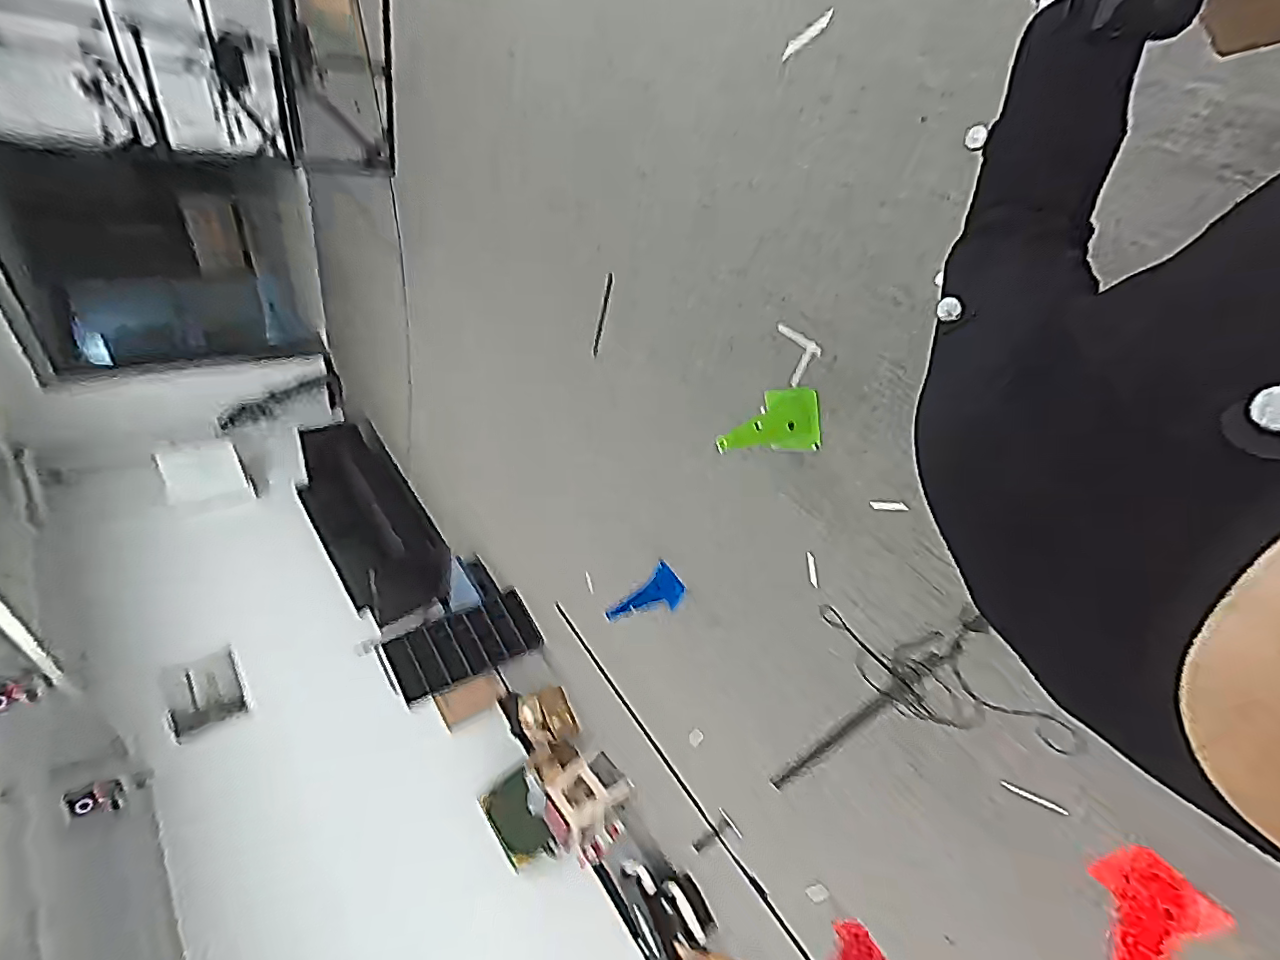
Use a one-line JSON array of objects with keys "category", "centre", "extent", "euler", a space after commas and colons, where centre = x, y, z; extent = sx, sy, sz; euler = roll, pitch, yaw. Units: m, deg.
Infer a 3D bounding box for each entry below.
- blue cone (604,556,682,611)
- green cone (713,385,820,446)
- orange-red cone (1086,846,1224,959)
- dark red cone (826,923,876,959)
[{"category": "blue cone", "centre": [-0.001, 0.526, 2.502], "extent": [0.192, 0.380, 0.193], "euler": [51, 139, 26]}, {"category": "green cone", "centre": [0.370, -0.169, 1.689], "extent": [0.202, 0.368, 0.200], "euler": [8, 111, 52]}, {"category": "orange-red cone", "centre": [1.155, 1.079, 1.252], "extent": [0.198, 0.360, 0.199], "euler": [45, 135, 29]}, {"category": "dark red cone", "centre": [0.756, 1.965, 2.117], "extent": [0.201, 0.394, 0.202], "euler": [53, 140, 24]}]
